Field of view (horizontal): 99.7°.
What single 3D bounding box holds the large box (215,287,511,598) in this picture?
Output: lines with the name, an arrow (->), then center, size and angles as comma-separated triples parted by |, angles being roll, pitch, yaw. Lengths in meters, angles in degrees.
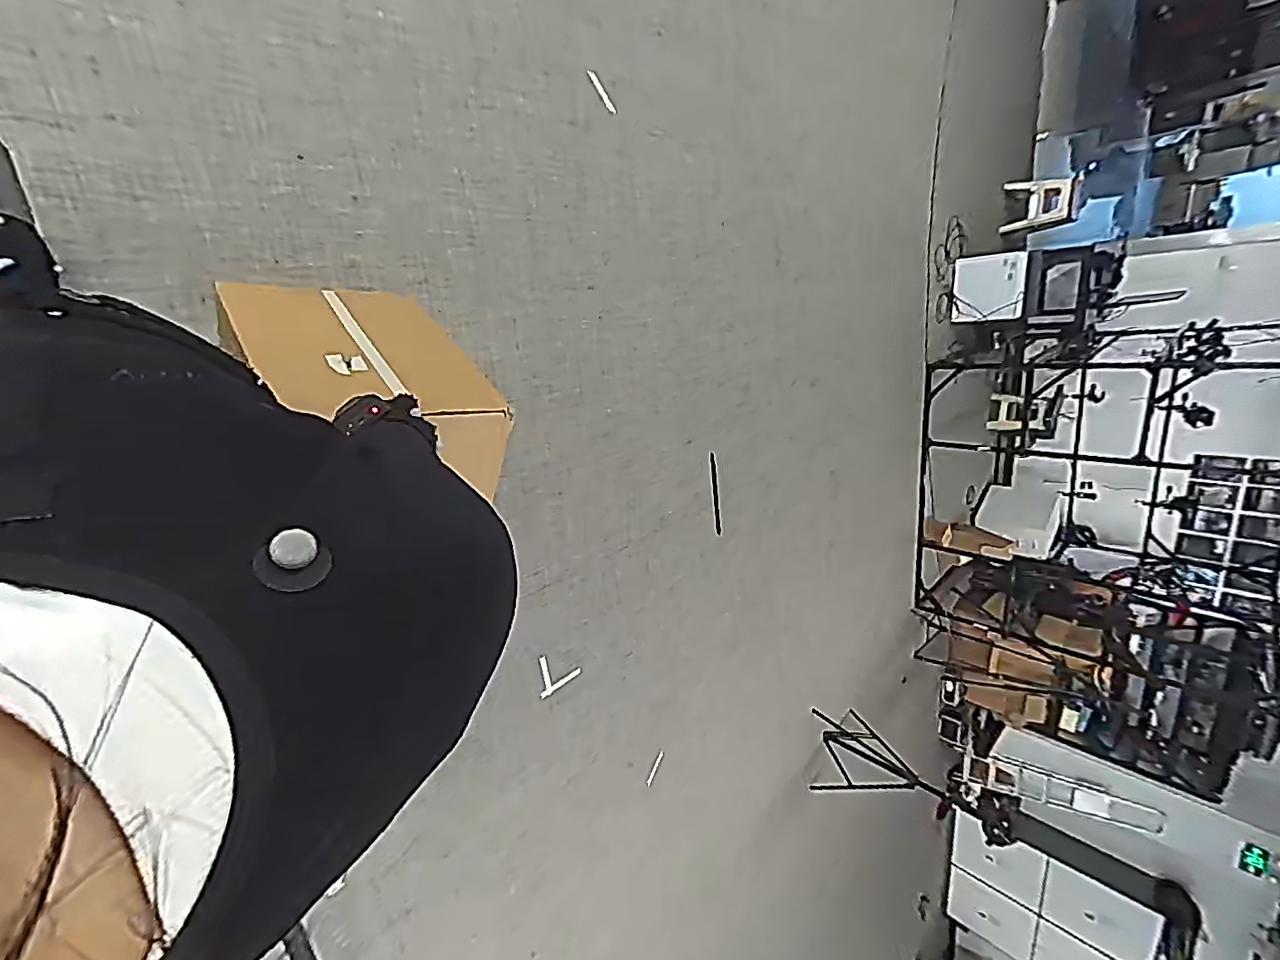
large box -> -0.480, -0.078, 0.912 | 0.320, 0.408, 0.320 | -11, 136, -42
